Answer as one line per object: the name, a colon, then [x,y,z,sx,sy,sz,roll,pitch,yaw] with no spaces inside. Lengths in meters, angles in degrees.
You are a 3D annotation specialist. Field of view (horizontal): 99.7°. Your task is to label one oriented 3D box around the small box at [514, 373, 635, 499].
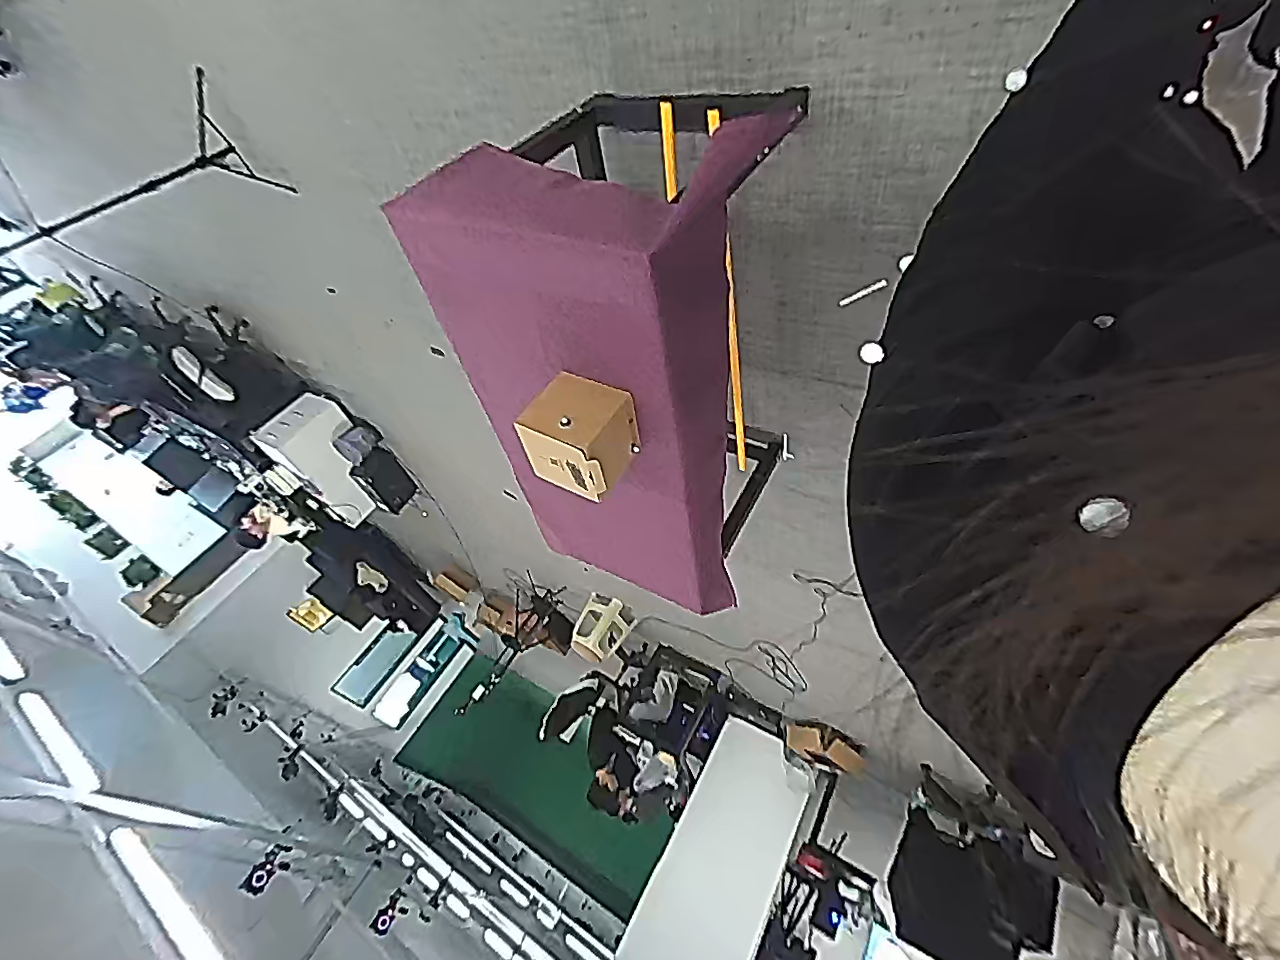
small box: [-0.122,-0.095,1.115,0.179,0.176,0.168,22,148,24]
